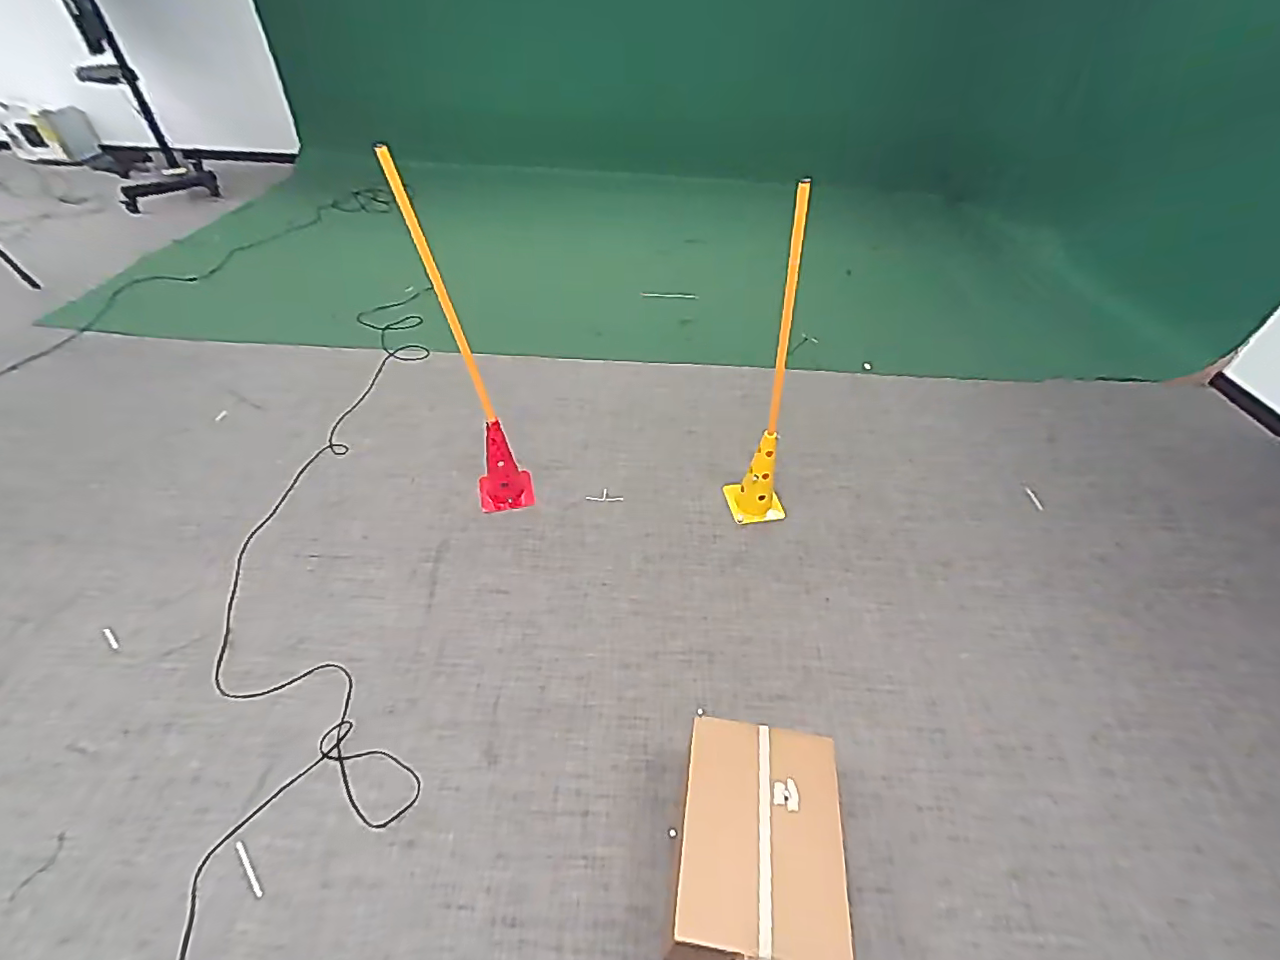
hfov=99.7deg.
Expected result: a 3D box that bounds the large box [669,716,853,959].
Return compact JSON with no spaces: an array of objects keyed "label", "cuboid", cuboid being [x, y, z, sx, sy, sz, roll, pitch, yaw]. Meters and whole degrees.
[{"label":"large box","cuboid":[0.240,0.798,1.177,0.320,0.320,0.408,8,43,5]}]
